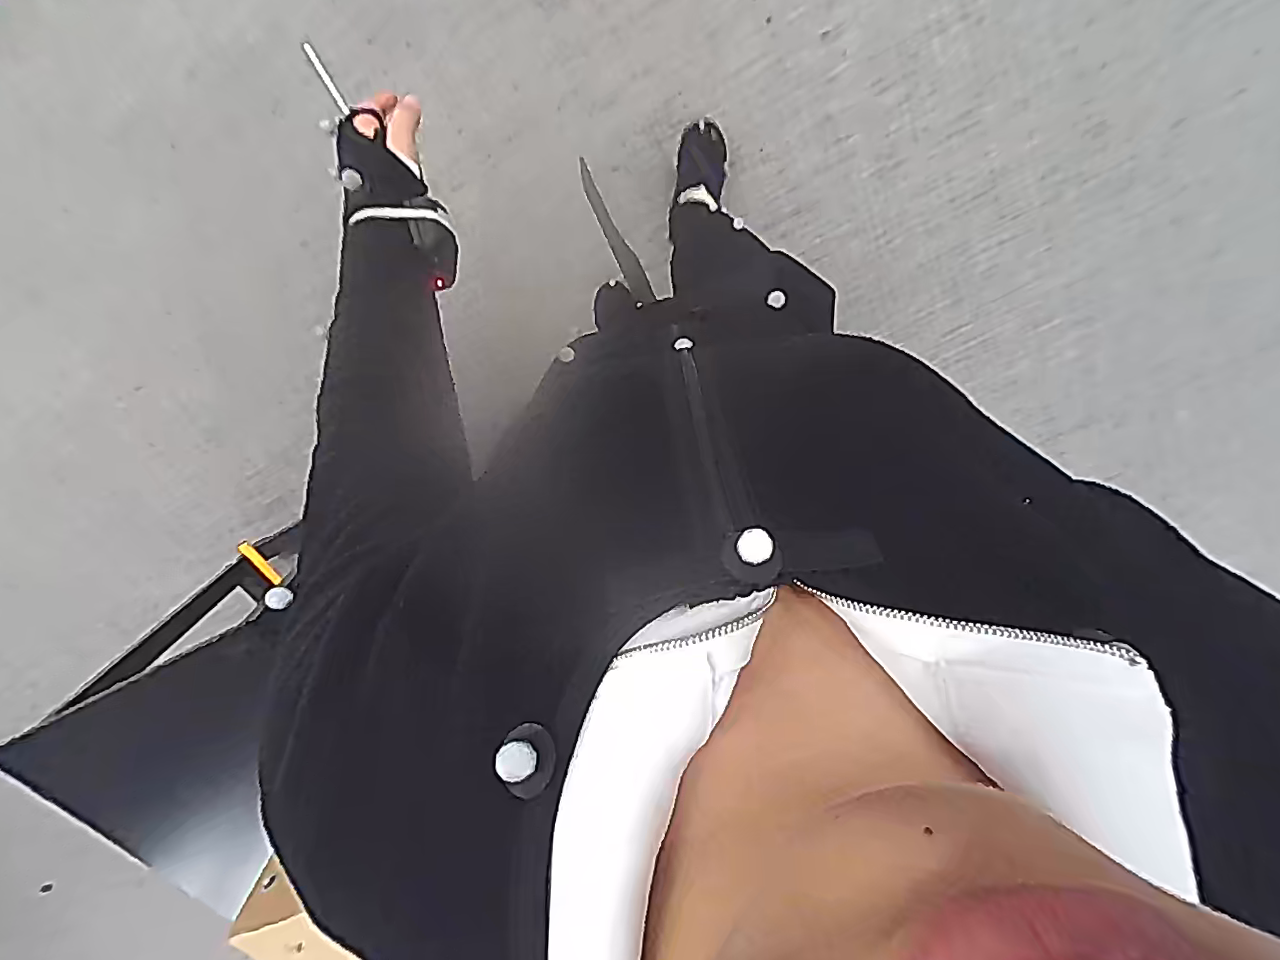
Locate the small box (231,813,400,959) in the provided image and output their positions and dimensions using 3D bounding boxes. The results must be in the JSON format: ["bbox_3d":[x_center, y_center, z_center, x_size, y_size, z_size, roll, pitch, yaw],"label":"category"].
[{"bbox_3d":[-0.589,0.767,1.009,0.179,0.176,0.168,-25,114,8],"label":"small box"}]
